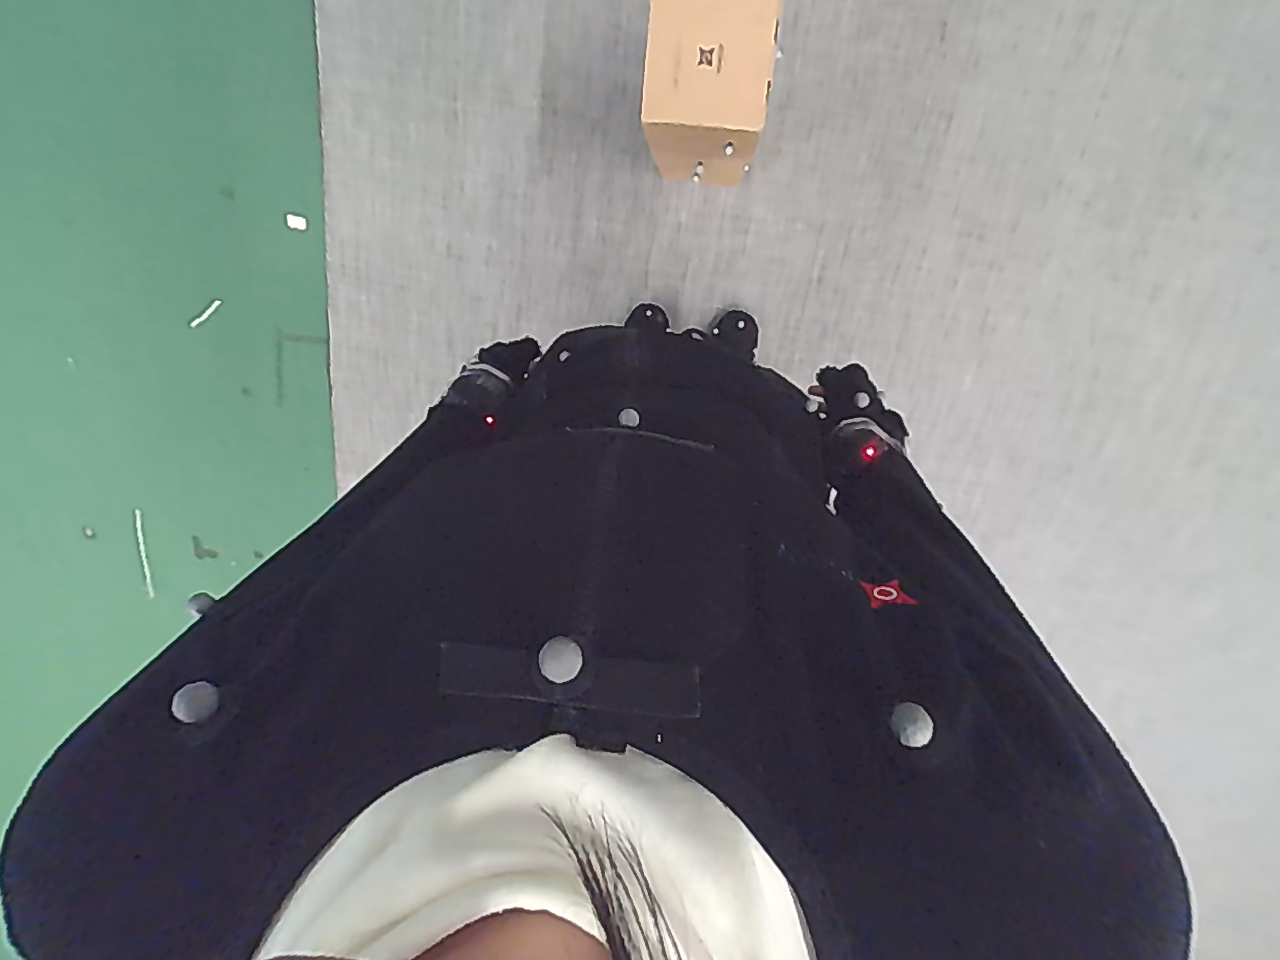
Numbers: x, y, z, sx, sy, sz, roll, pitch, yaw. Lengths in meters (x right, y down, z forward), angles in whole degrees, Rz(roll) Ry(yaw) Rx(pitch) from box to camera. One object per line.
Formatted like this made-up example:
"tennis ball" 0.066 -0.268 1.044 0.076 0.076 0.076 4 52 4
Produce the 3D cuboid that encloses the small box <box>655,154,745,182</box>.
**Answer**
"small box" 0.133 -0.727 1.113 0.179 0.176 0.168 9 110 4

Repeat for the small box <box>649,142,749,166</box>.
"small box" 0.113 -0.671 0.960 0.179 0.176 0.168 6 110 4

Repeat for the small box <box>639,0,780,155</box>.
"small box" 0.101 -0.604 0.812 0.179 0.176 0.168 7 109 5
